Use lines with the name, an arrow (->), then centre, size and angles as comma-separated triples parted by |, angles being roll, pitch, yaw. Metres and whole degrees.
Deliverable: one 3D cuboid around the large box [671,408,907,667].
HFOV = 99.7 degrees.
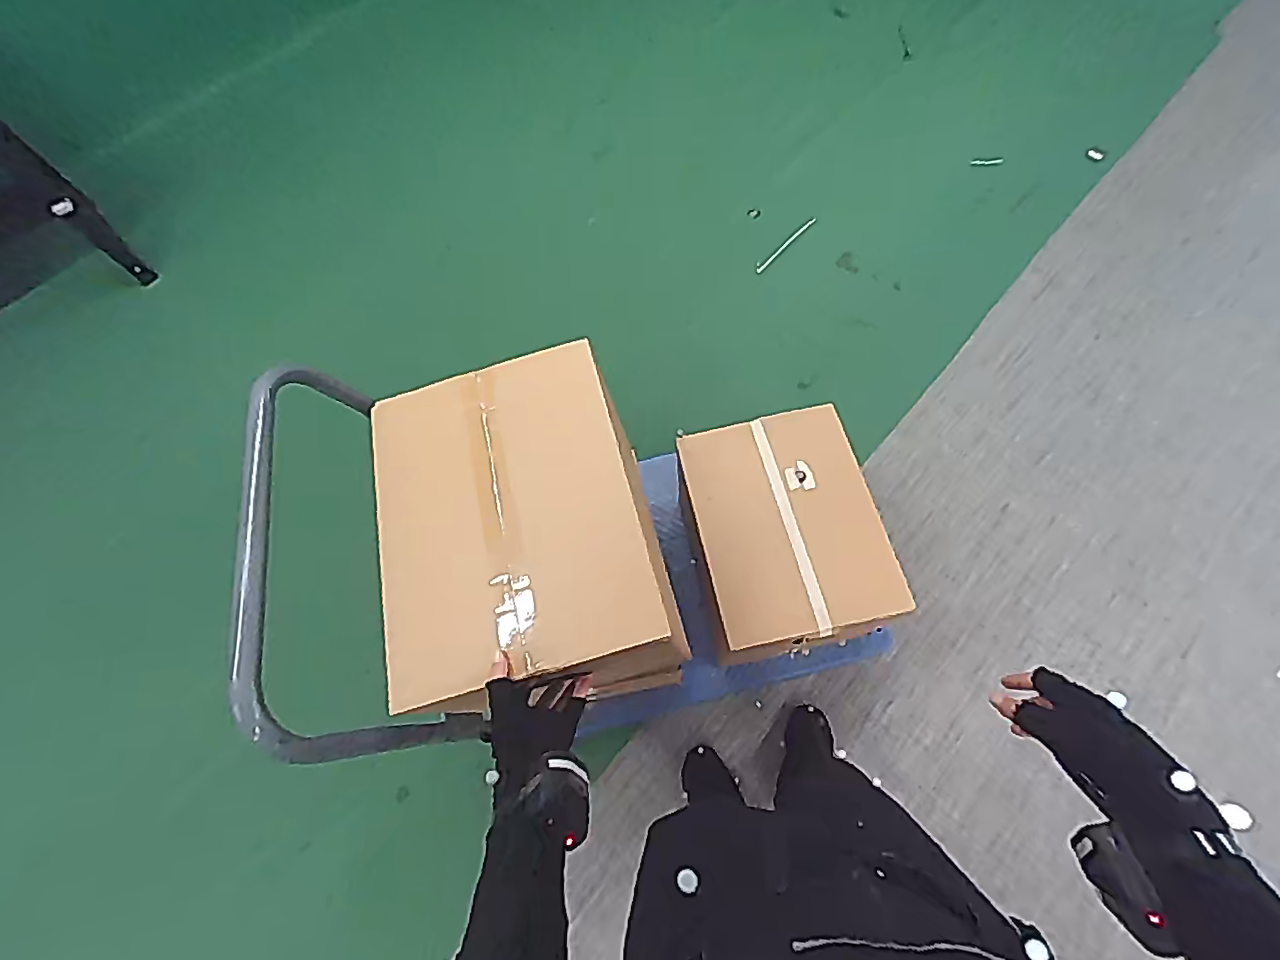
large box -> 0.264, 0.130, 1.094 | 0.320, 0.320, 0.408 | -12, 65, 0
